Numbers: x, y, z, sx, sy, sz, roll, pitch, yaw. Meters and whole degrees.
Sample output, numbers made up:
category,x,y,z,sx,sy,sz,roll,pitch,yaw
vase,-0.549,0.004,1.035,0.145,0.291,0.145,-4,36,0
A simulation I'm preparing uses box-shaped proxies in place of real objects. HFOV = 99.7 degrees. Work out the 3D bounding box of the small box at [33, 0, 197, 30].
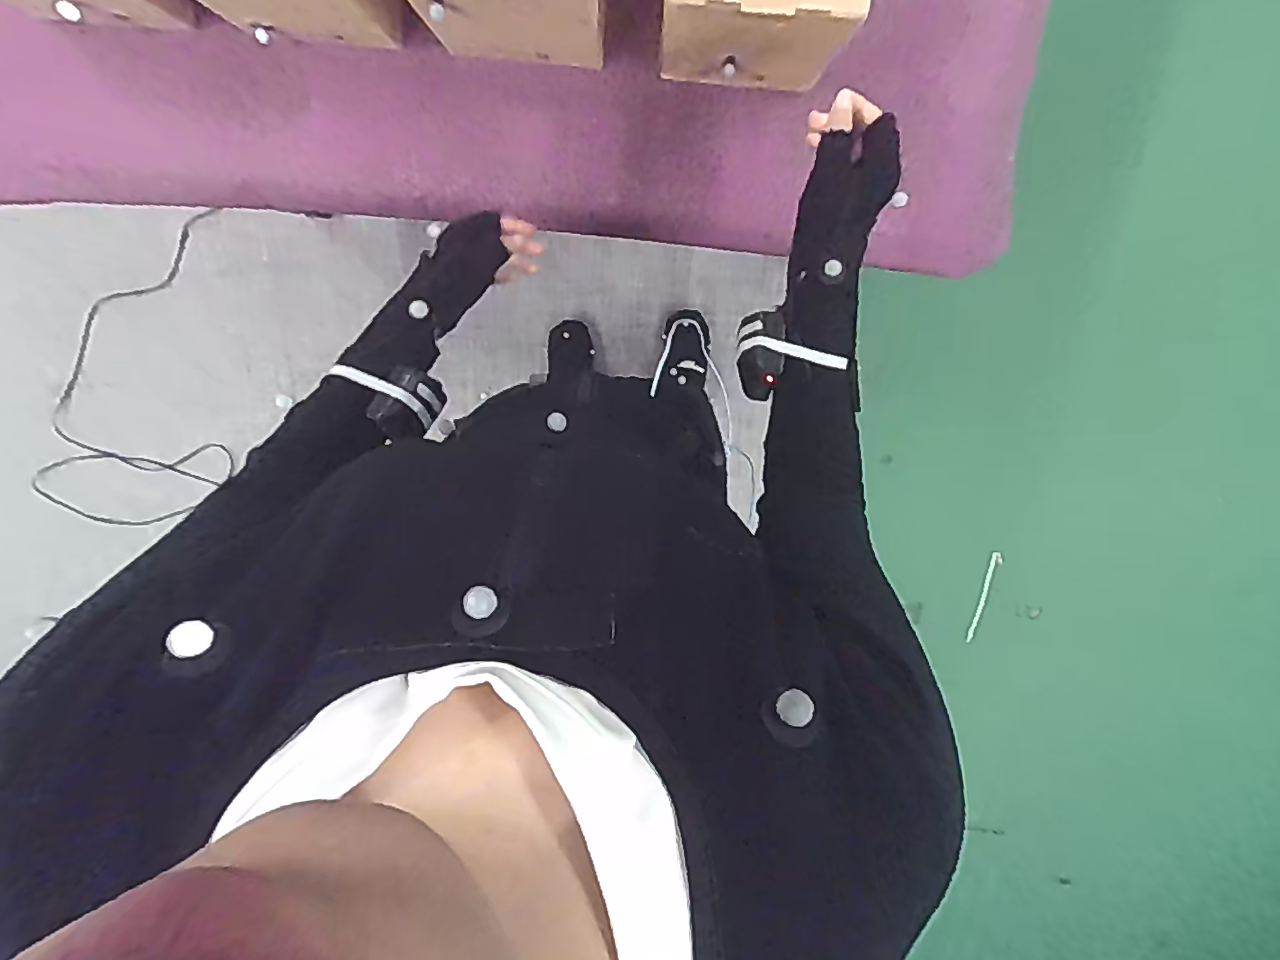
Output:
category,x,y,z,sx,sy,sz,roll,pitch,yaw
small box,-0.538,-0.539,0.467,0.168,0.176,0.179,4,110,-1

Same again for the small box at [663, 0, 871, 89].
category,x,y,z,sx,sy,sz,roll,pitch,yaw
small box,0.111,-0.489,0.486,0.168,0.176,0.179,4,110,-1
